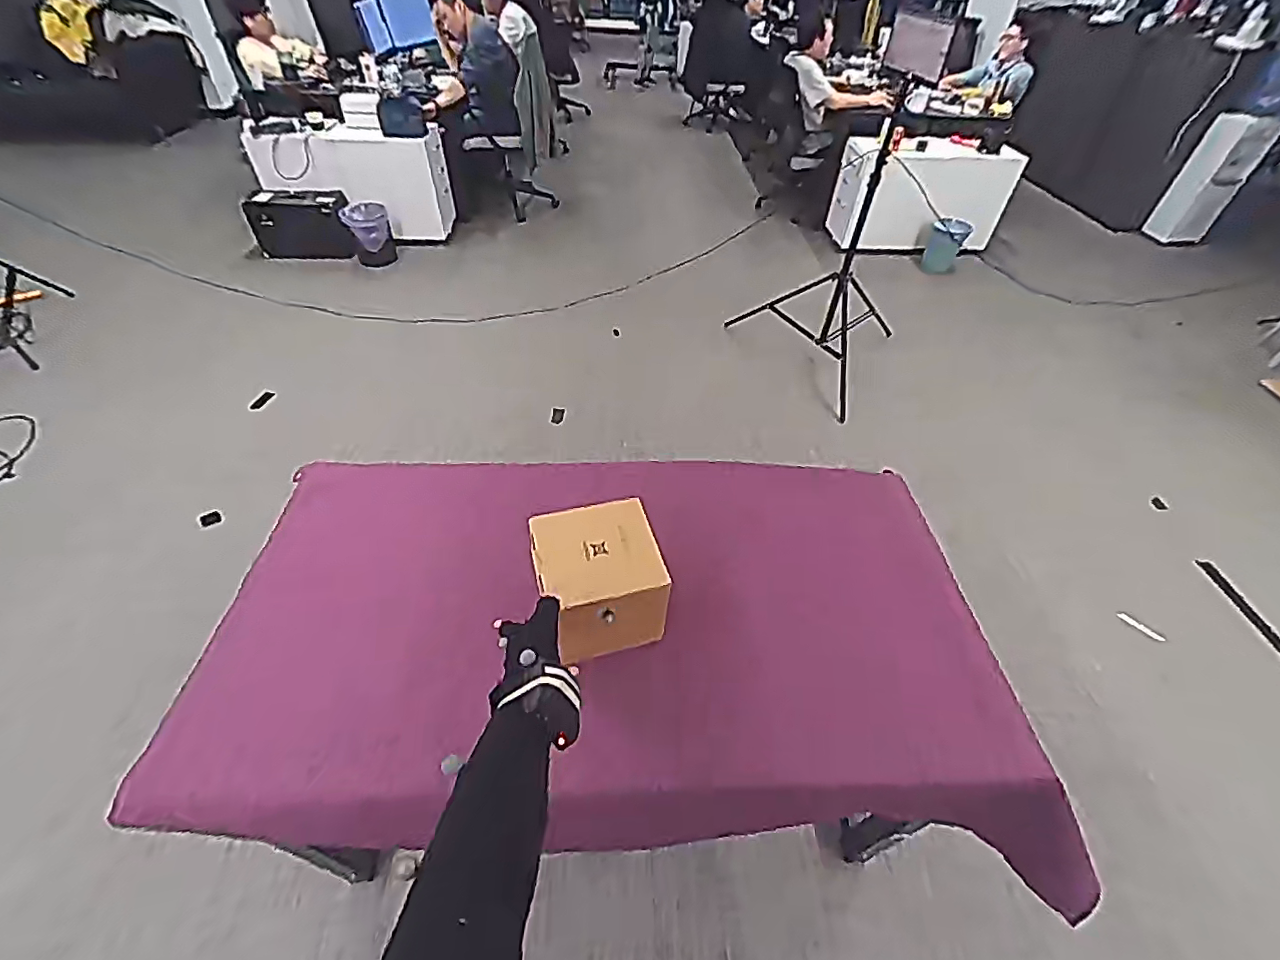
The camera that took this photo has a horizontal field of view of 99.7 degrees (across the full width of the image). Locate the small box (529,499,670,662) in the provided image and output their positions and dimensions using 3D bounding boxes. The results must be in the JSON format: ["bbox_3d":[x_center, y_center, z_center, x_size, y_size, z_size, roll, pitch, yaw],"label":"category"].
[{"bbox_3d":[-0.064,0.158,0.836,0.179,0.176,0.168,-11,48,-13],"label":"small box"}]
